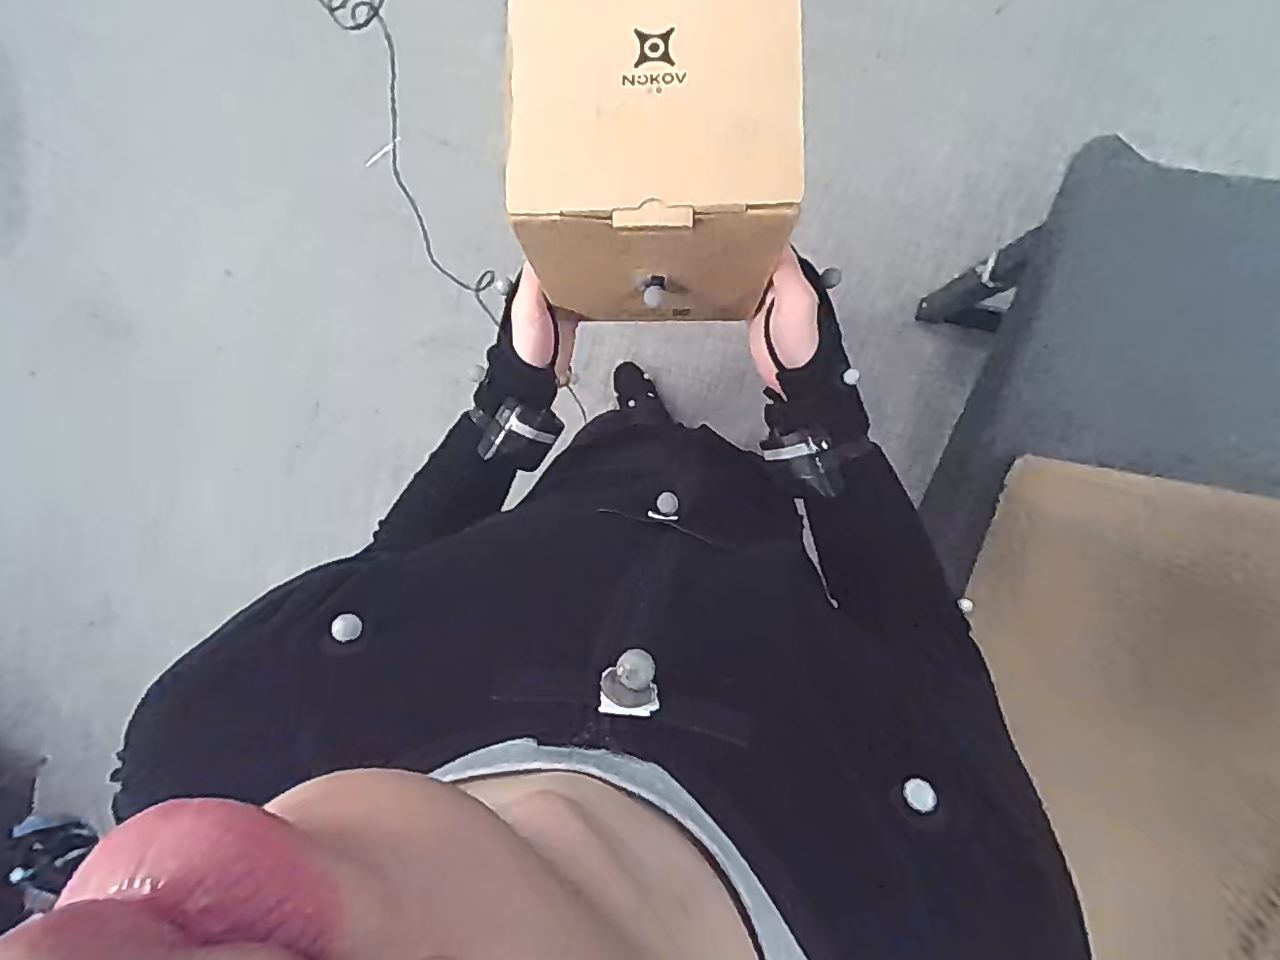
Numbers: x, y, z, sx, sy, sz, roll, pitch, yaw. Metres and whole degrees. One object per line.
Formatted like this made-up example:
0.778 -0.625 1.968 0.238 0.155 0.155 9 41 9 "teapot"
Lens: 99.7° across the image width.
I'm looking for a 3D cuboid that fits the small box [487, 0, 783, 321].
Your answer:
0.002 -0.219 0.380 0.168 0.176 0.179 1 88 3 "small box"
